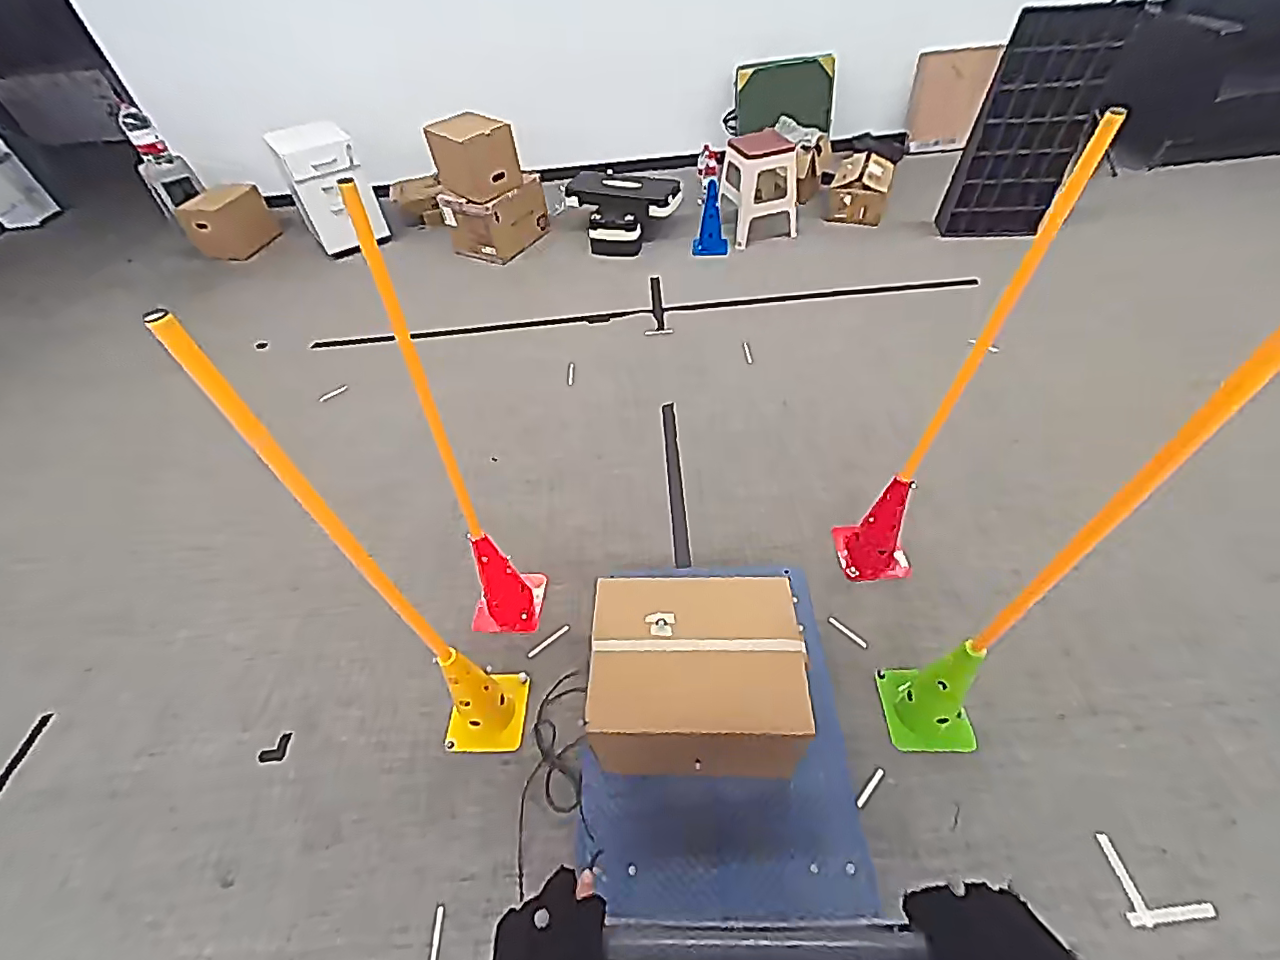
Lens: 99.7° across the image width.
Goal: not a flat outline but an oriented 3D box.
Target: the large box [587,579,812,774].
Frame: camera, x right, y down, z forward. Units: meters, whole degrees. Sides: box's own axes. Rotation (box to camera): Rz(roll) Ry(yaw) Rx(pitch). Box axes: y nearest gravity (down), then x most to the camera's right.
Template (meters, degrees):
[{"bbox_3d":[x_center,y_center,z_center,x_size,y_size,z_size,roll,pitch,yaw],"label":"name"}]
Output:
[{"bbox_3d":[0.118,0.428,1.157,0.408,0.320,0.320,-2,48,5],"label":"large box"}]

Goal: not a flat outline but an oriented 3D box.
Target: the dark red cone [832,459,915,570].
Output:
[{"bbox_3d":[0.713,0.089,1.565,0.201,0.394,0.202,-4,48,0],"label":"dark red cone"}]

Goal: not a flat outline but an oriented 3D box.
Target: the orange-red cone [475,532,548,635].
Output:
[{"bbox_3d":[-0.407,0.267,1.553,0.198,0.360,0.199,1,47,6],"label":"orange-red cone"}]

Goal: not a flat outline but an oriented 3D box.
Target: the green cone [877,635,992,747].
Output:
[{"bbox_3d":[0.717,0.462,1.255,0.202,0.368,0.200,-1,48,3],"label":"green cone"}]
